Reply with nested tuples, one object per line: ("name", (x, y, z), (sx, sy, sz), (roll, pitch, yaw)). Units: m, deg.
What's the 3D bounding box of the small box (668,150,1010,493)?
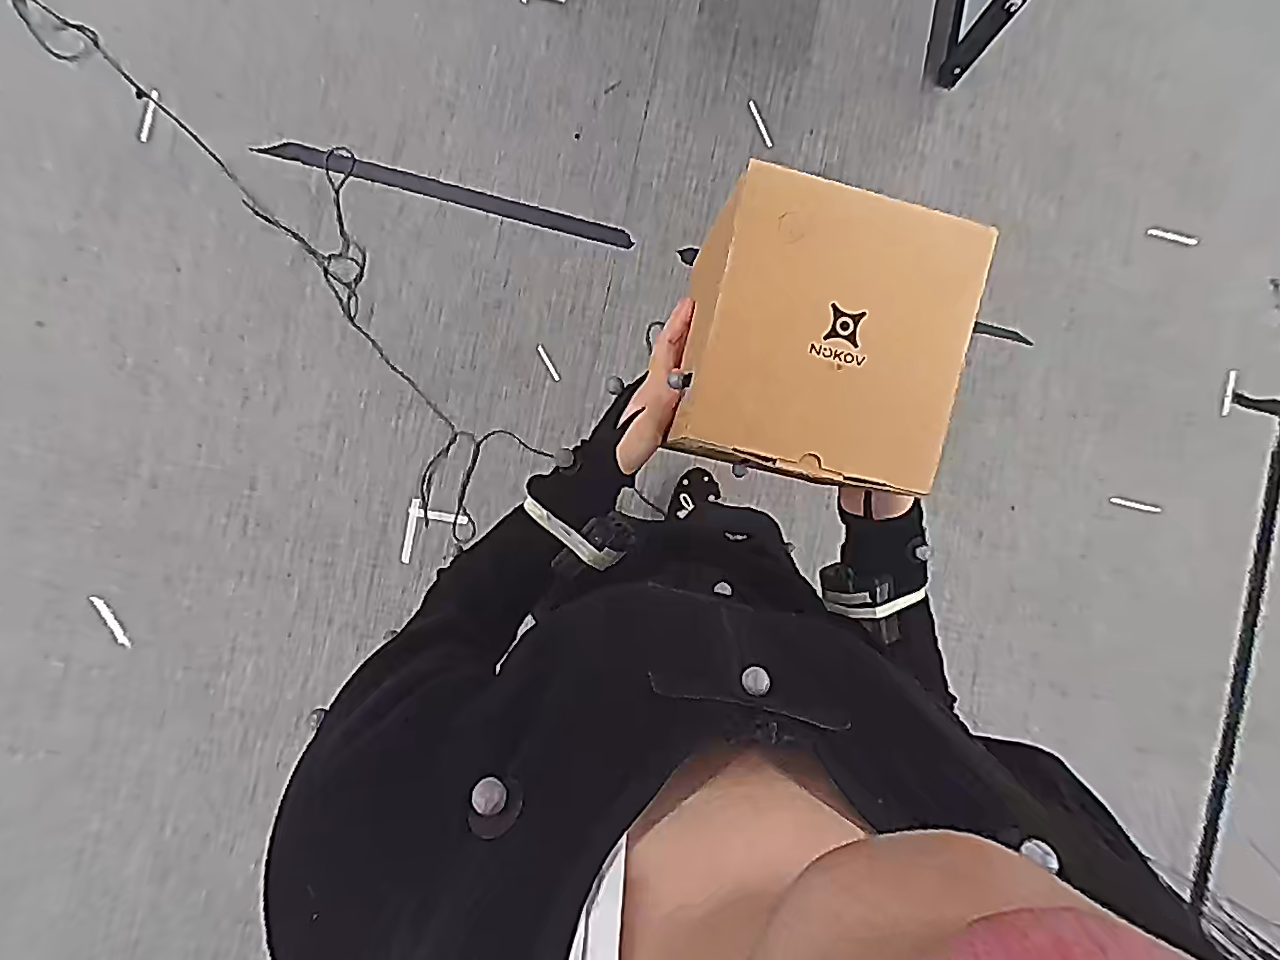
("small box", (0.124, -0.098, 0.407), (0.168, 0.176, 0.179), (12, 93, -5))
